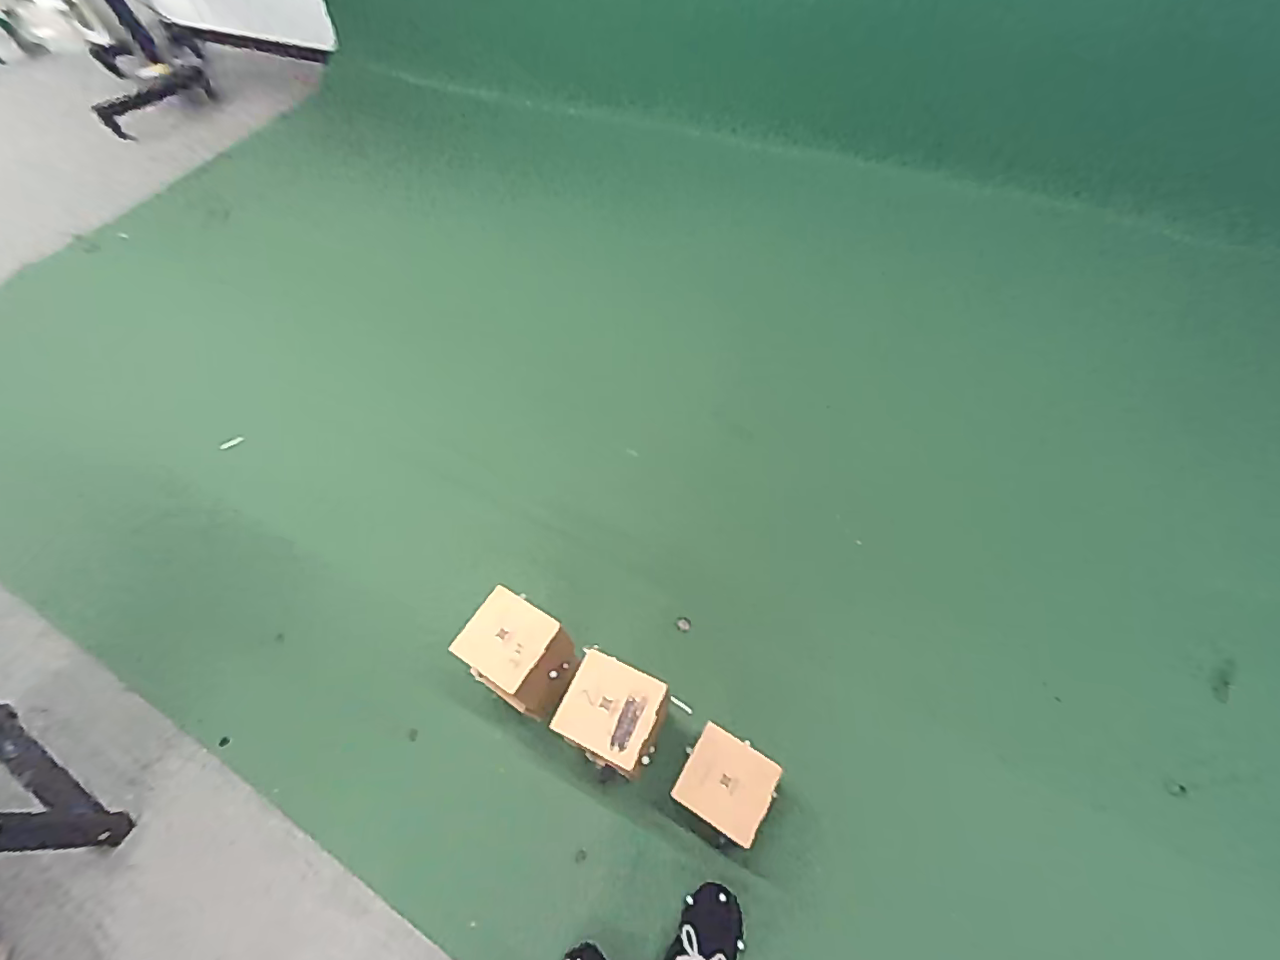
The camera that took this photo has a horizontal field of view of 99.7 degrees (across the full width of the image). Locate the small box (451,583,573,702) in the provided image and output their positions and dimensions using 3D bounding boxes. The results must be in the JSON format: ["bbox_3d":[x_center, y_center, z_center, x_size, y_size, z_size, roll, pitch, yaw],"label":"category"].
[{"bbox_3d":[-0.271,0.360,1.180,0.179,0.176,0.168,27,64,20],"label":"small box"}]

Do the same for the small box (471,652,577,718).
[{"bbox_3d":[-0.272,0.452,1.318,0.168,0.176,0.179,28,64,21],"label":"small box"}]

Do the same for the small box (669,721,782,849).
[{"bbox_3d":[0.178,0.647,1.158,0.179,0.176,0.168,27,64,19],"label":"small box"}]
